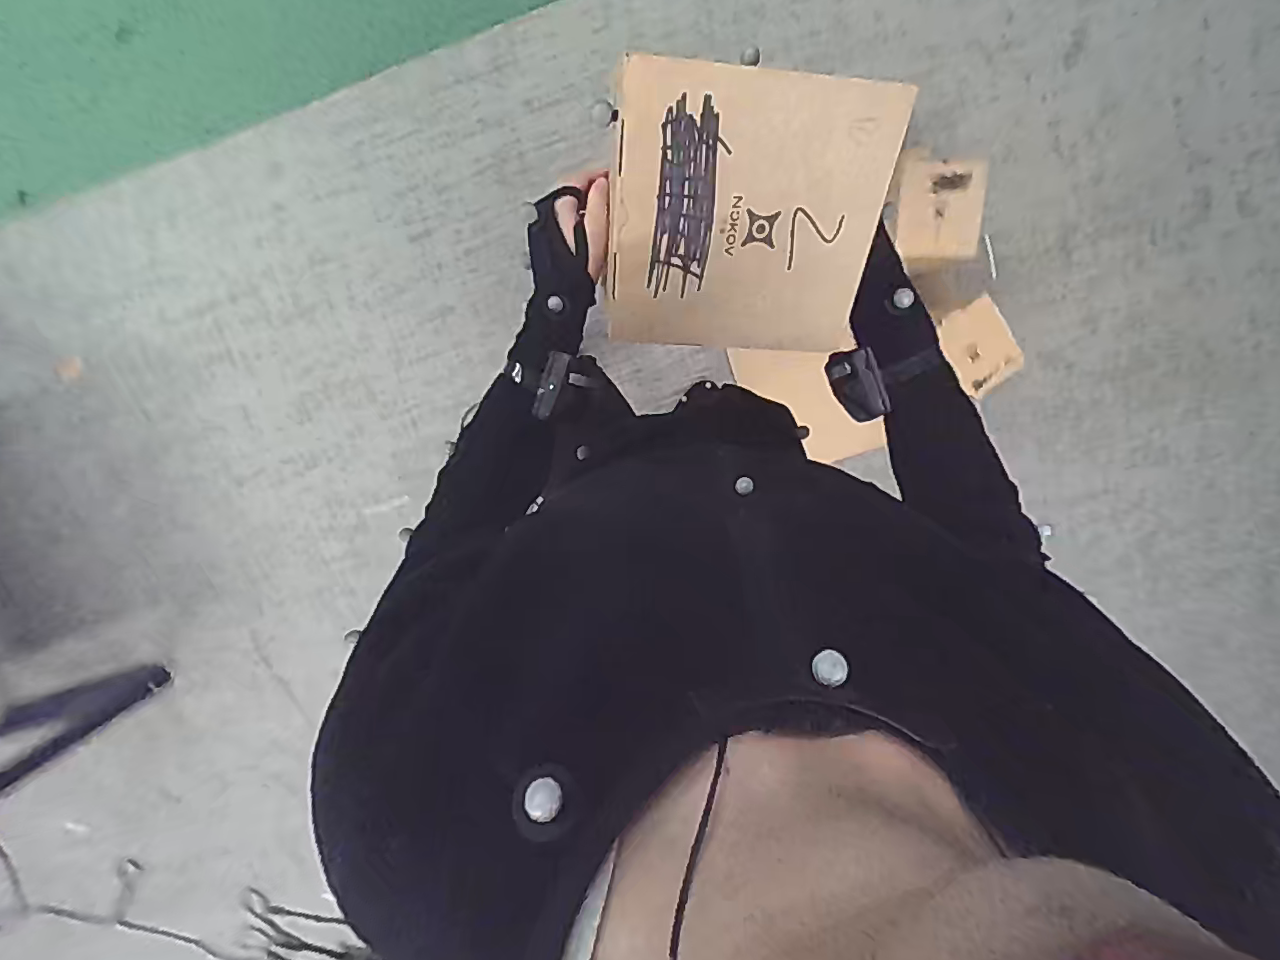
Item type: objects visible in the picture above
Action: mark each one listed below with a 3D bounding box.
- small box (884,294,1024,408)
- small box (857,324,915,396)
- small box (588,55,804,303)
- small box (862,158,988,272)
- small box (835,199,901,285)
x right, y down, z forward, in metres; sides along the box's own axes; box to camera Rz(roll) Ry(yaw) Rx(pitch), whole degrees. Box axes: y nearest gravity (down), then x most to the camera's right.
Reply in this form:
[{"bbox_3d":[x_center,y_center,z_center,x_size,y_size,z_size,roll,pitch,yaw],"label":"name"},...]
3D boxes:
[{"bbox_3d":[0.672,-0.274,1.179,0.168,0.176,0.179,-35,99,6],"label":"small box"},{"bbox_3d":[0.666,-0.296,1.342,0.179,0.176,0.168,1,101,-1],"label":"small box"},{"bbox_3d":[0.039,-0.302,0.552,0.168,0.176,0.179,5,123,-10],"label":"small box"},{"bbox_3d":[0.580,-0.542,1.125,0.168,0.176,0.179,1,103,-1],"label":"small box"},{"bbox_3d":[0.582,-0.576,1.287,0.179,0.176,0.168,-16,102,2],"label":"small box"}]
